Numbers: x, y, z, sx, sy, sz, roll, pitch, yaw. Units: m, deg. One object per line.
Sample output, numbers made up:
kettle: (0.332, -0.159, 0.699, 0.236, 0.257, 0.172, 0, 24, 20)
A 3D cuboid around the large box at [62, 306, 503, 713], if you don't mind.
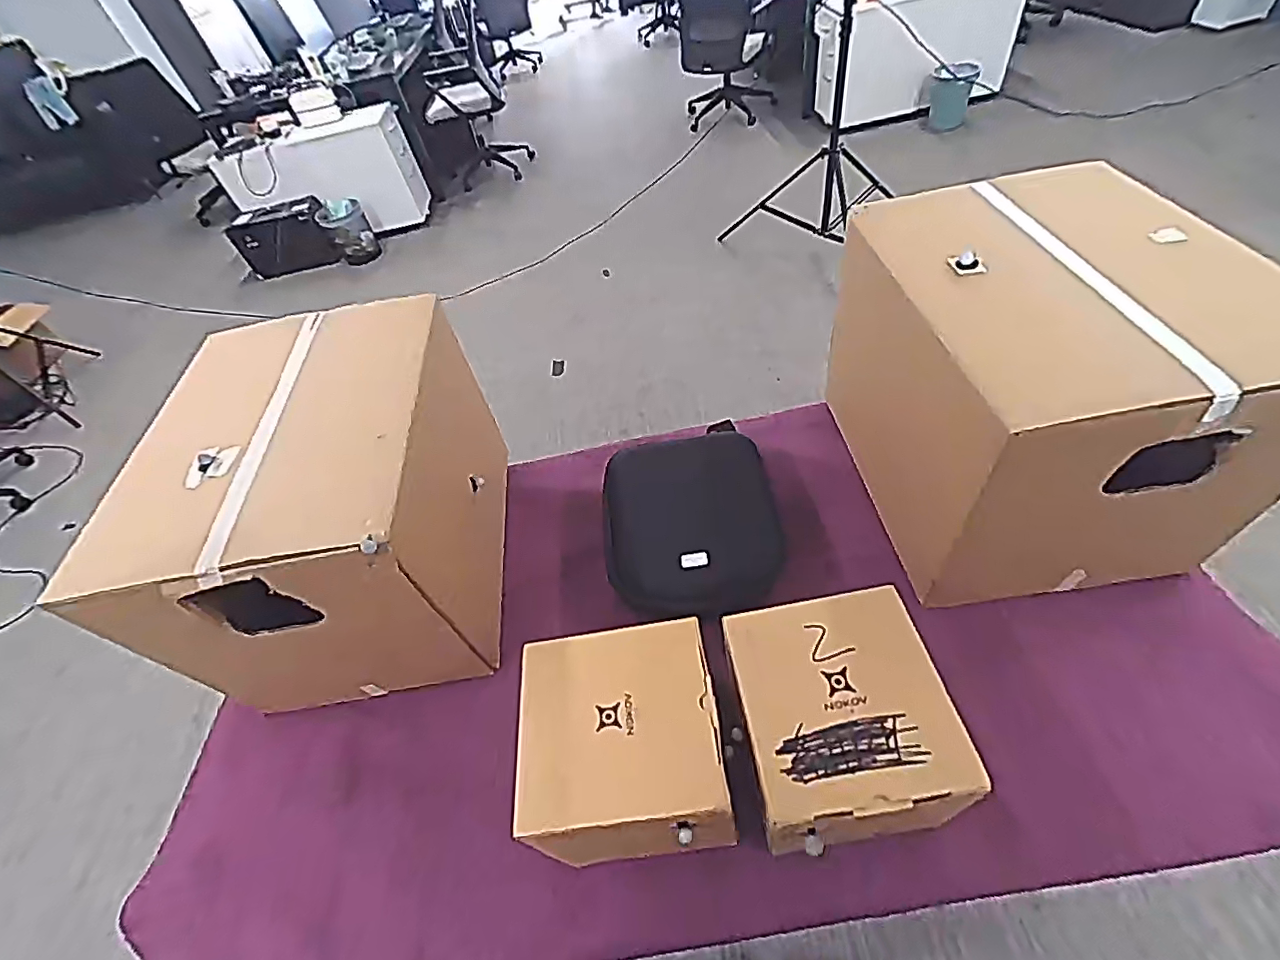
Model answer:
large box: (-0.374, 0.036, 0.713, 0.320, 0.320, 0.408, -11, 51, 1)
